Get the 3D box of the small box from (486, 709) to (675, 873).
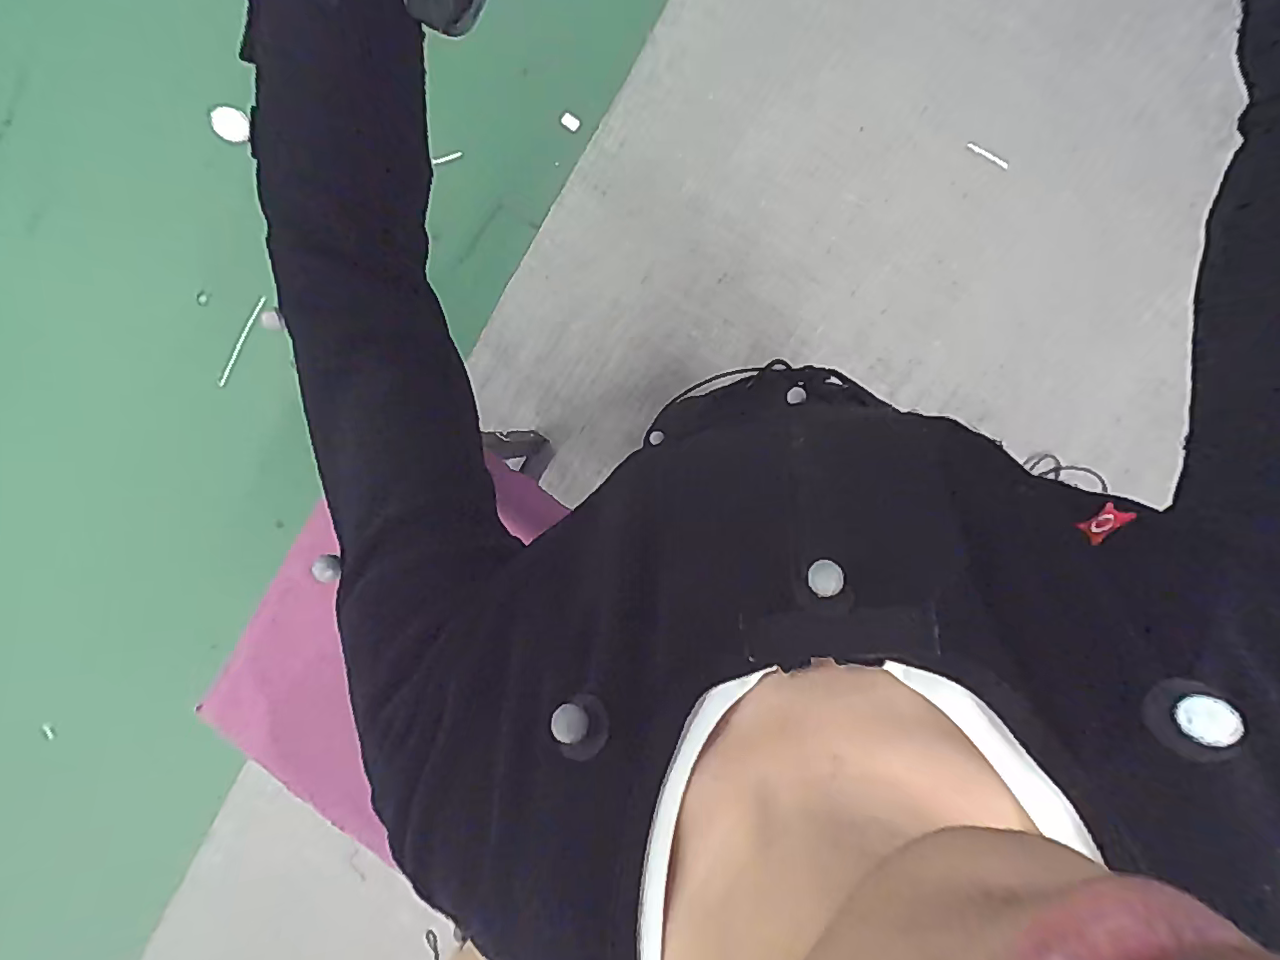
[{"bbox_3d":[-0.066,0.455,0.727,0.168,0.176,0.179,39,99,3],"label":"small box"}]
